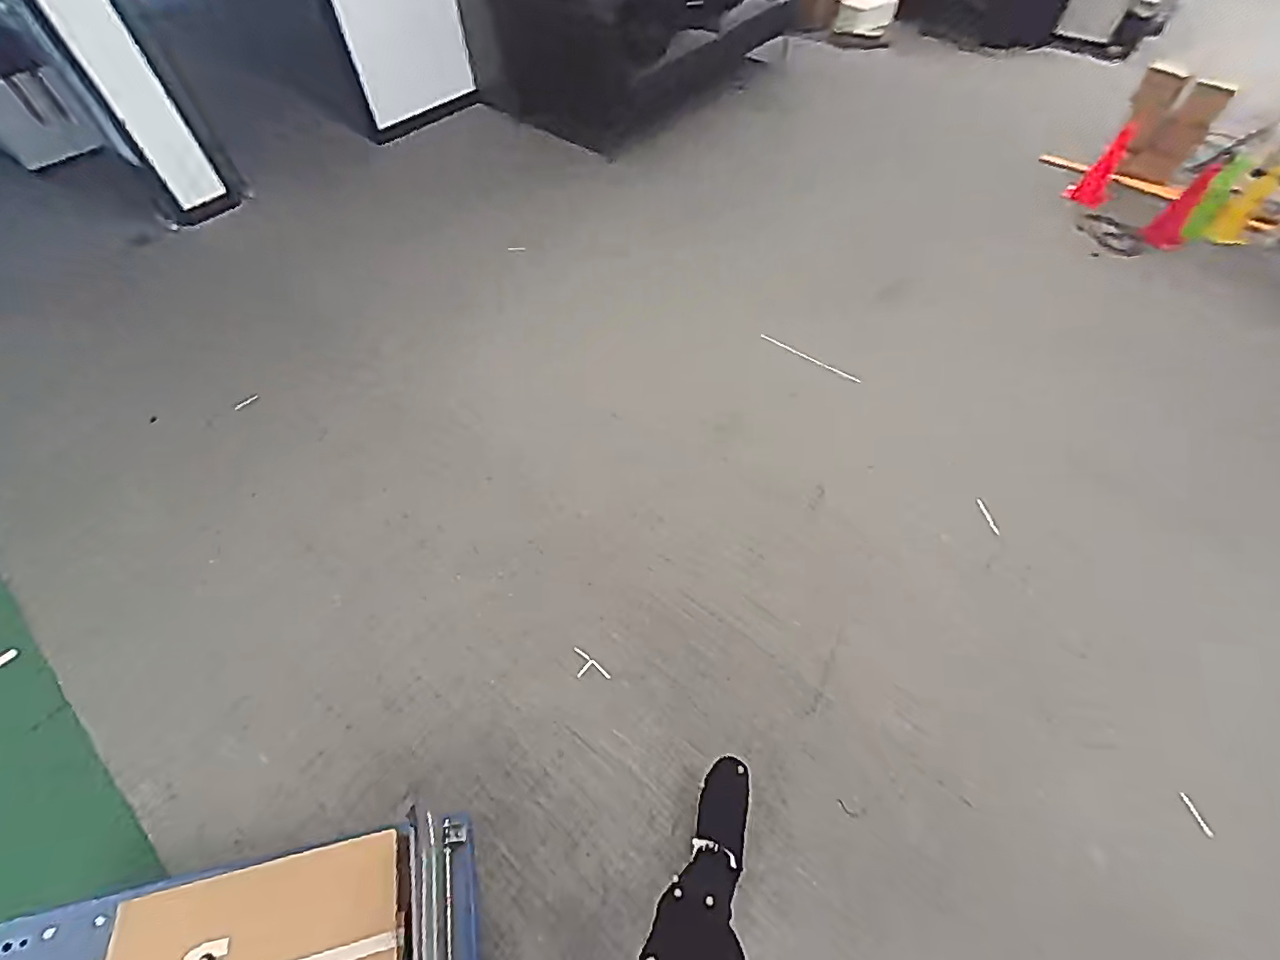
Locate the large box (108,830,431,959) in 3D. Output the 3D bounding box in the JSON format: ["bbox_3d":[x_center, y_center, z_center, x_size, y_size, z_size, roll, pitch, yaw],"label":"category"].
[{"bbox_3d":[-0.591,0.841,0.919,0.408,0.320,0.320,-8,55,-16],"label":"large box"}]
